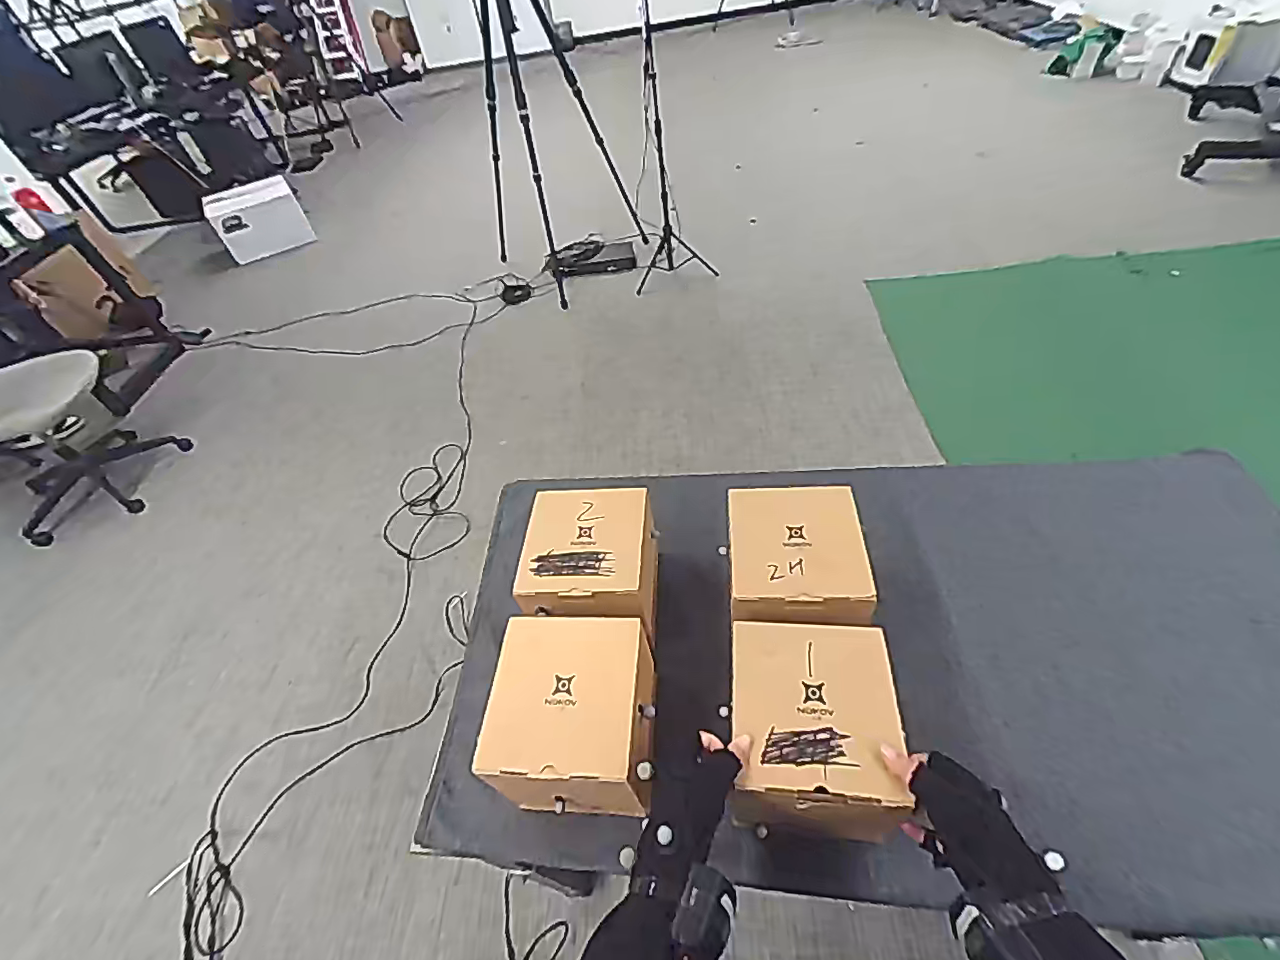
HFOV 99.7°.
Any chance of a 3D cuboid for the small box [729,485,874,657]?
[{"bbox_3d":[0.208,0.125,0.750,0.168,0.176,0.179,-1,48,9],"label":"small box"}]
